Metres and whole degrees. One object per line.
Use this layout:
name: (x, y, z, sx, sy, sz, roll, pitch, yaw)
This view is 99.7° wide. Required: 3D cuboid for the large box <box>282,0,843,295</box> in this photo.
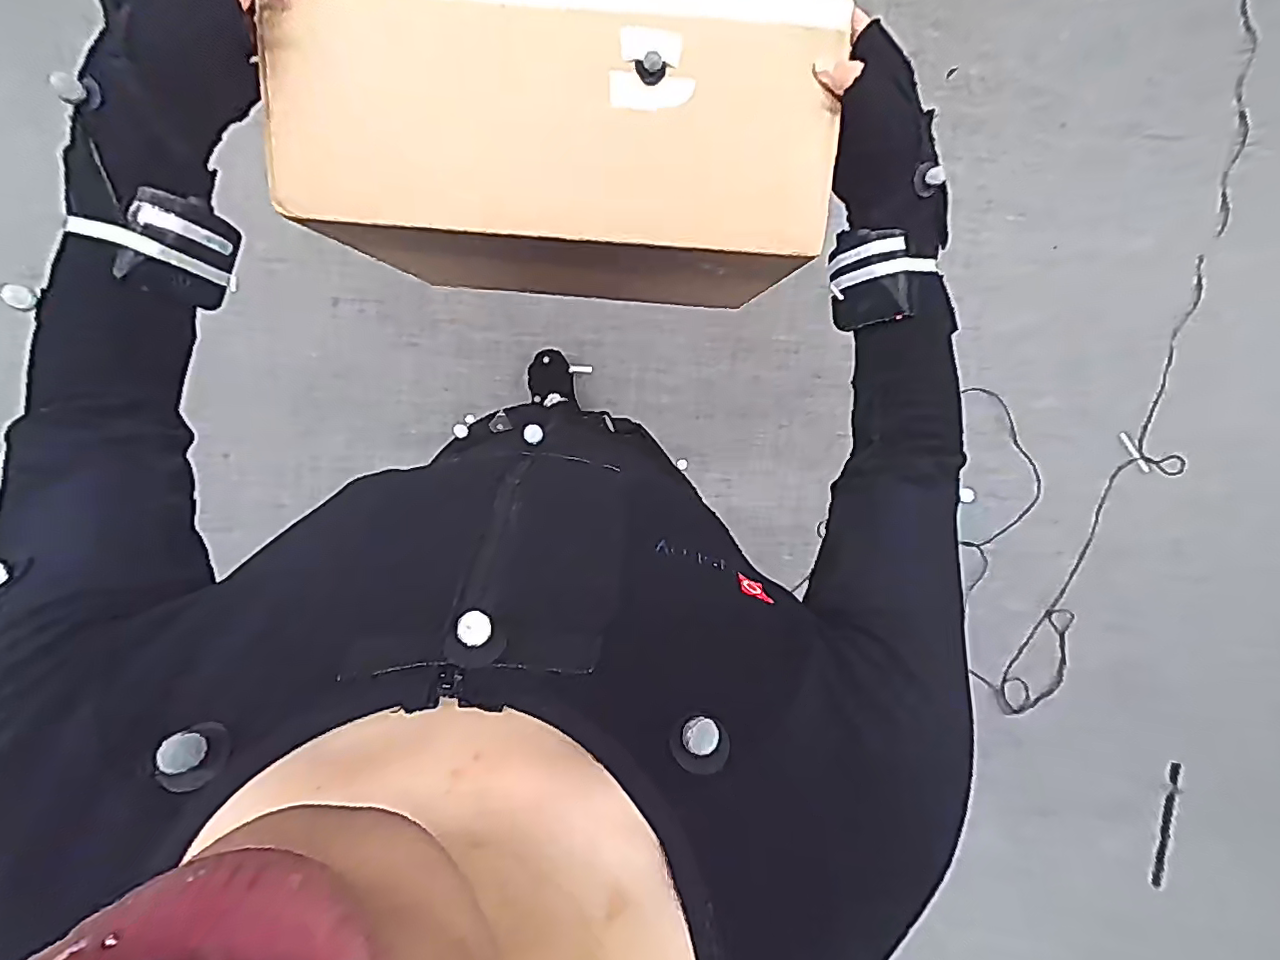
large box: (-0.057, -0.373, 0.529, 0.408, 0.320, 0.320, 3, 101, -2)
